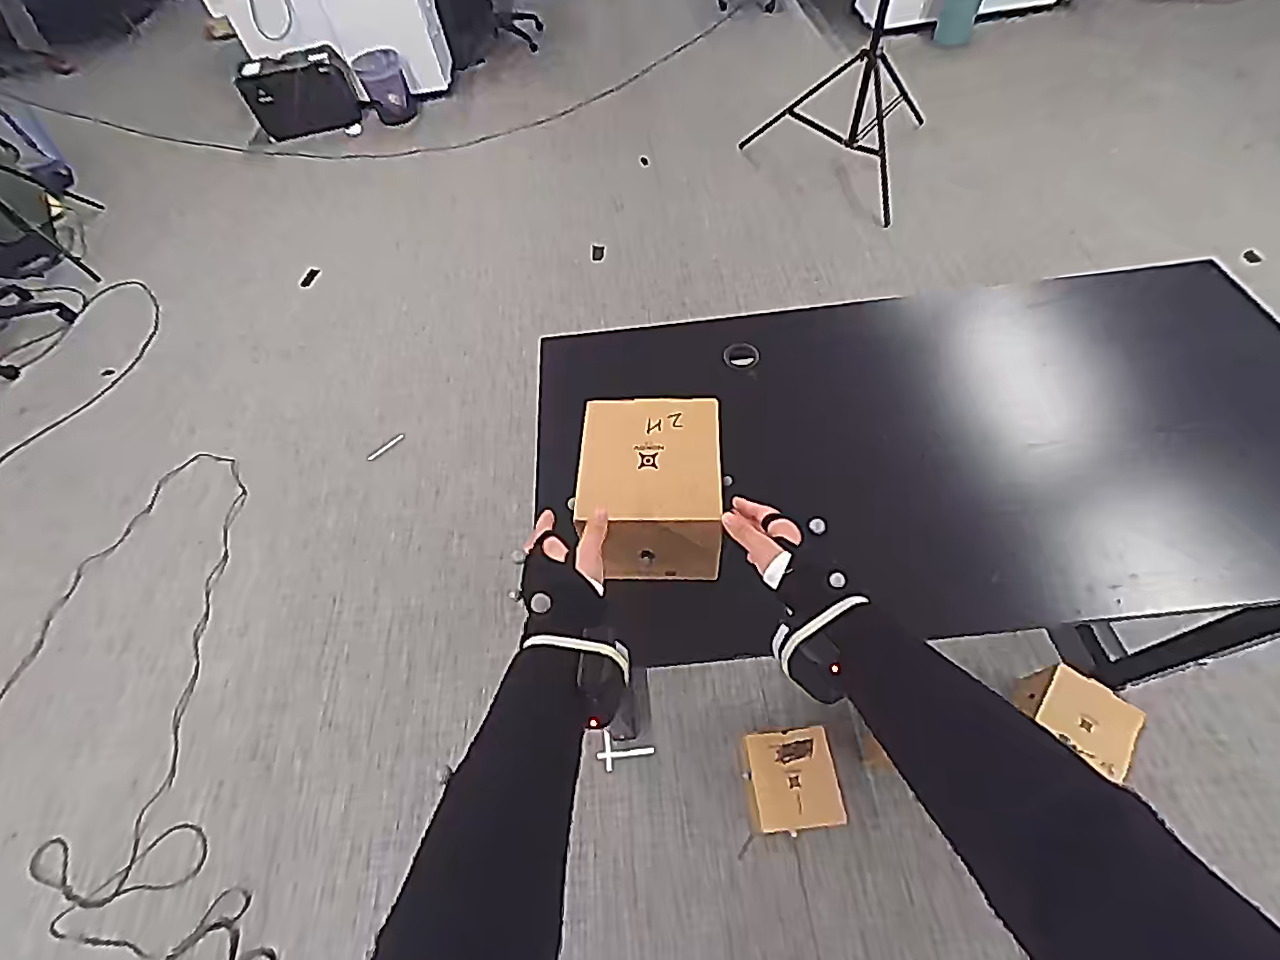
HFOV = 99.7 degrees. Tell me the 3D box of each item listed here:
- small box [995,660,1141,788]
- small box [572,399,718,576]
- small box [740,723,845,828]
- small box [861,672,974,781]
[{"bbox_3d":[0.900,0.523,1.154,0.168,0.176,0.179,32,66,24],"label":"small box"},{"bbox_3d":[0.016,0.016,0.701,0.168,0.176,0.179,0,57,5],"label":"small box"},{"bbox_3d":[0.312,0.630,1.149,0.168,0.176,0.179,-8,59,1],"label":"small box"},{"bbox_3d":[0.598,0.541,1.178,0.179,0.176,0.168,11,59,13],"label":"small box"}]
